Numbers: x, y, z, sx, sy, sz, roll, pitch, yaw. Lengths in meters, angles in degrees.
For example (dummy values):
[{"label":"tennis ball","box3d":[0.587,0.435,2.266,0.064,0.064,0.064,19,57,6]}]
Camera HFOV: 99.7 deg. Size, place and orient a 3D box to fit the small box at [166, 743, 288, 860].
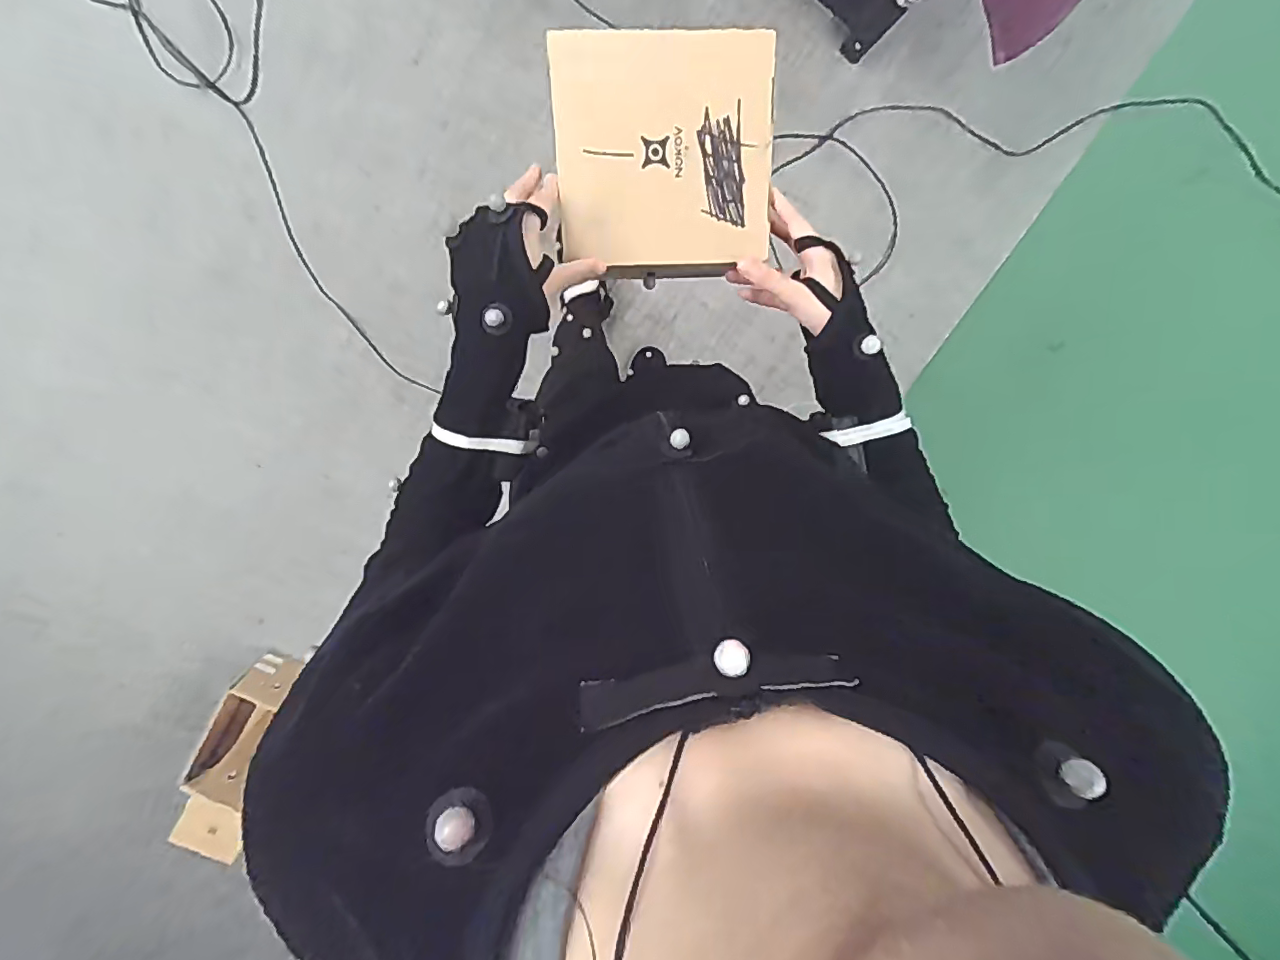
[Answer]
[{"label":"small box","box3d":[-1.072,0.837,1.421,0.168,0.176,0.179,32,103,-11]}]
